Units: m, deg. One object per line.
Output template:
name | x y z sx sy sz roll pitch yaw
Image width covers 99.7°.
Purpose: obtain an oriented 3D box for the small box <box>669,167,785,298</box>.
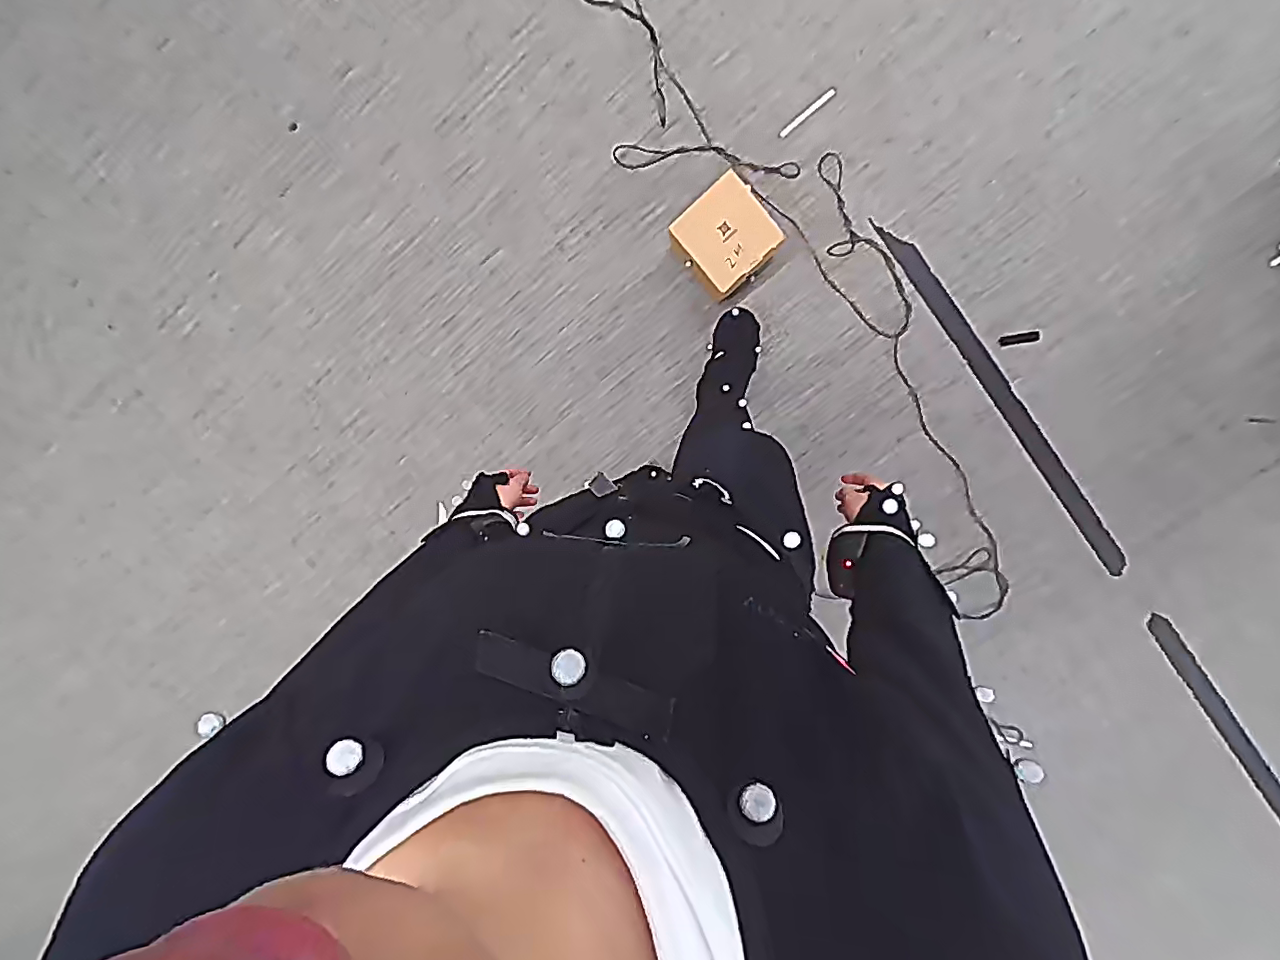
small box | 0.178 -0.512 1.153 0.168 0.176 0.179 -40 96 12
